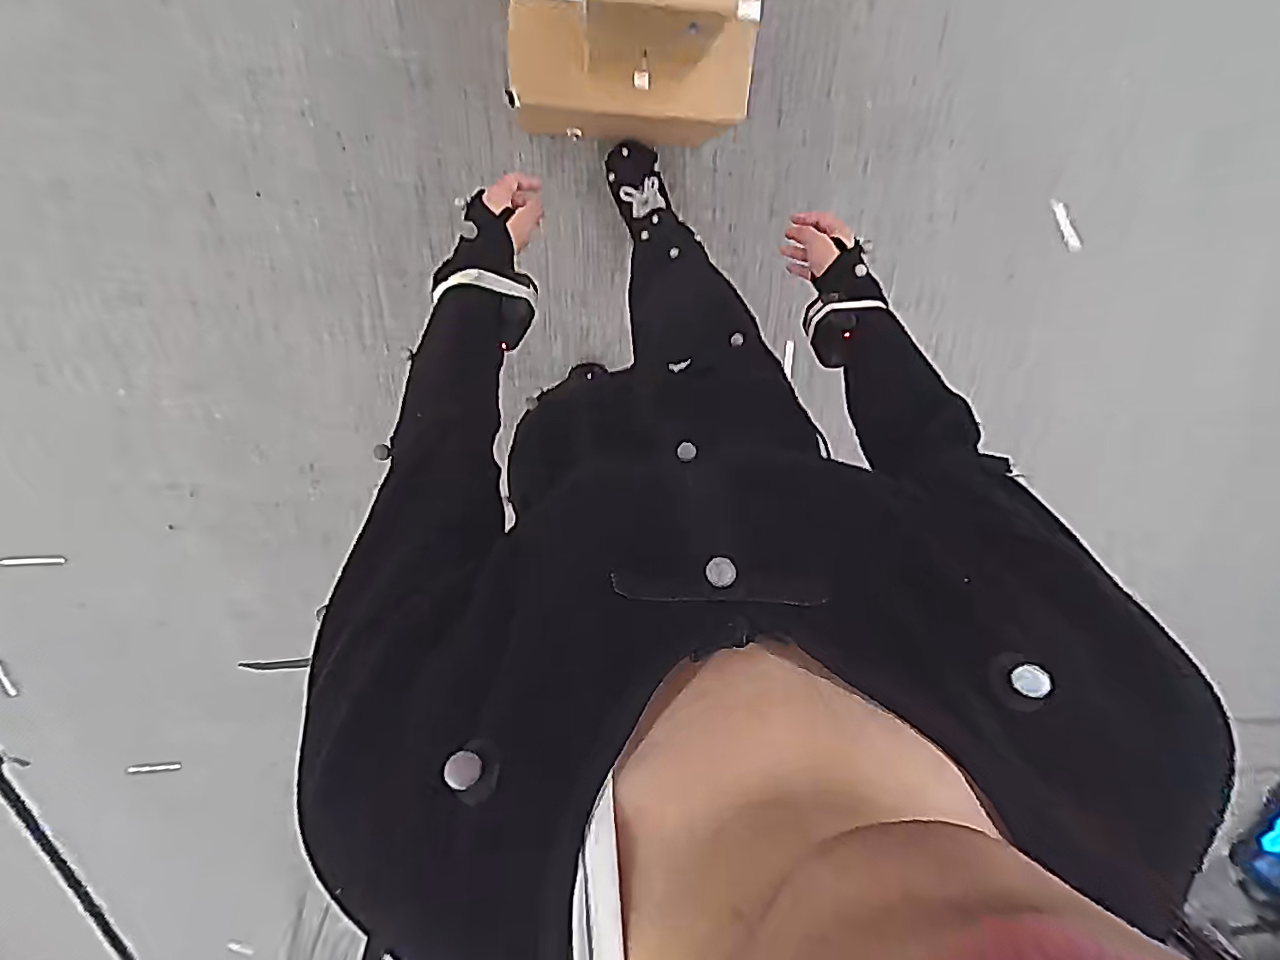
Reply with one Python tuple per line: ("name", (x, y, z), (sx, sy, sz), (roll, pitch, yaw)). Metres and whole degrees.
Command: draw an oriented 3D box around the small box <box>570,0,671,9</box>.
("small box", (-0.023, -0.798, 0.765), (0.179, 0.176, 0.168), (-7, 117, -6))
